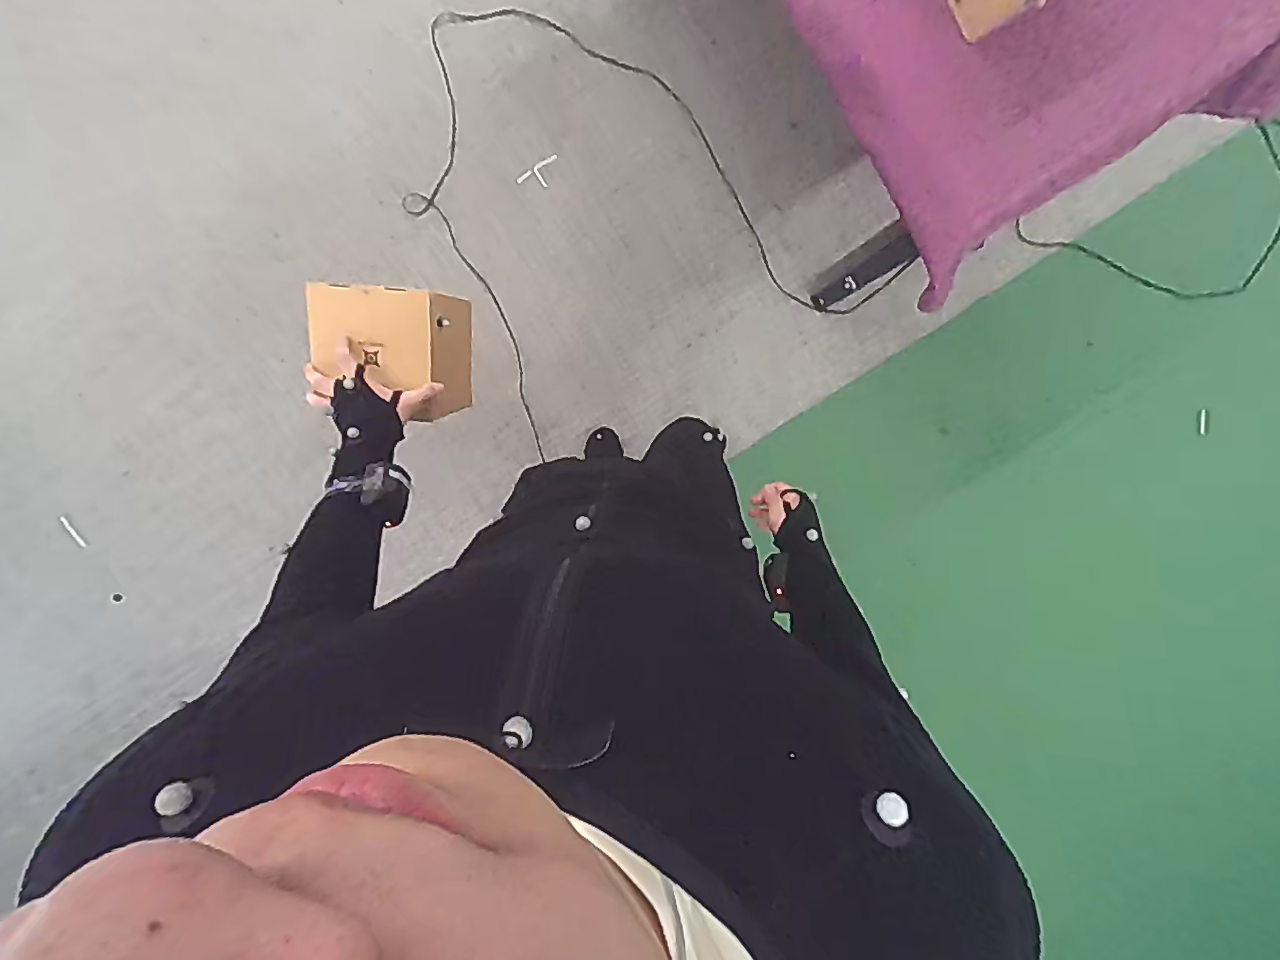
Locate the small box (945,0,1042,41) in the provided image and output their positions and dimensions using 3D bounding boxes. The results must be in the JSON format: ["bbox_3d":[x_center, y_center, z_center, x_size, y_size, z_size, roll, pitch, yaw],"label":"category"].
[{"bbox_3d":[0.534,-0.766,0.734,0.179,0.176,0.168,-31,95,2],"label":"small box"}]

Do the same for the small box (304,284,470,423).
[{"bbox_3d":[-0.358,-0.186,0.800,0.168,0.176,0.179,3,103,1],"label":"small box"}]
